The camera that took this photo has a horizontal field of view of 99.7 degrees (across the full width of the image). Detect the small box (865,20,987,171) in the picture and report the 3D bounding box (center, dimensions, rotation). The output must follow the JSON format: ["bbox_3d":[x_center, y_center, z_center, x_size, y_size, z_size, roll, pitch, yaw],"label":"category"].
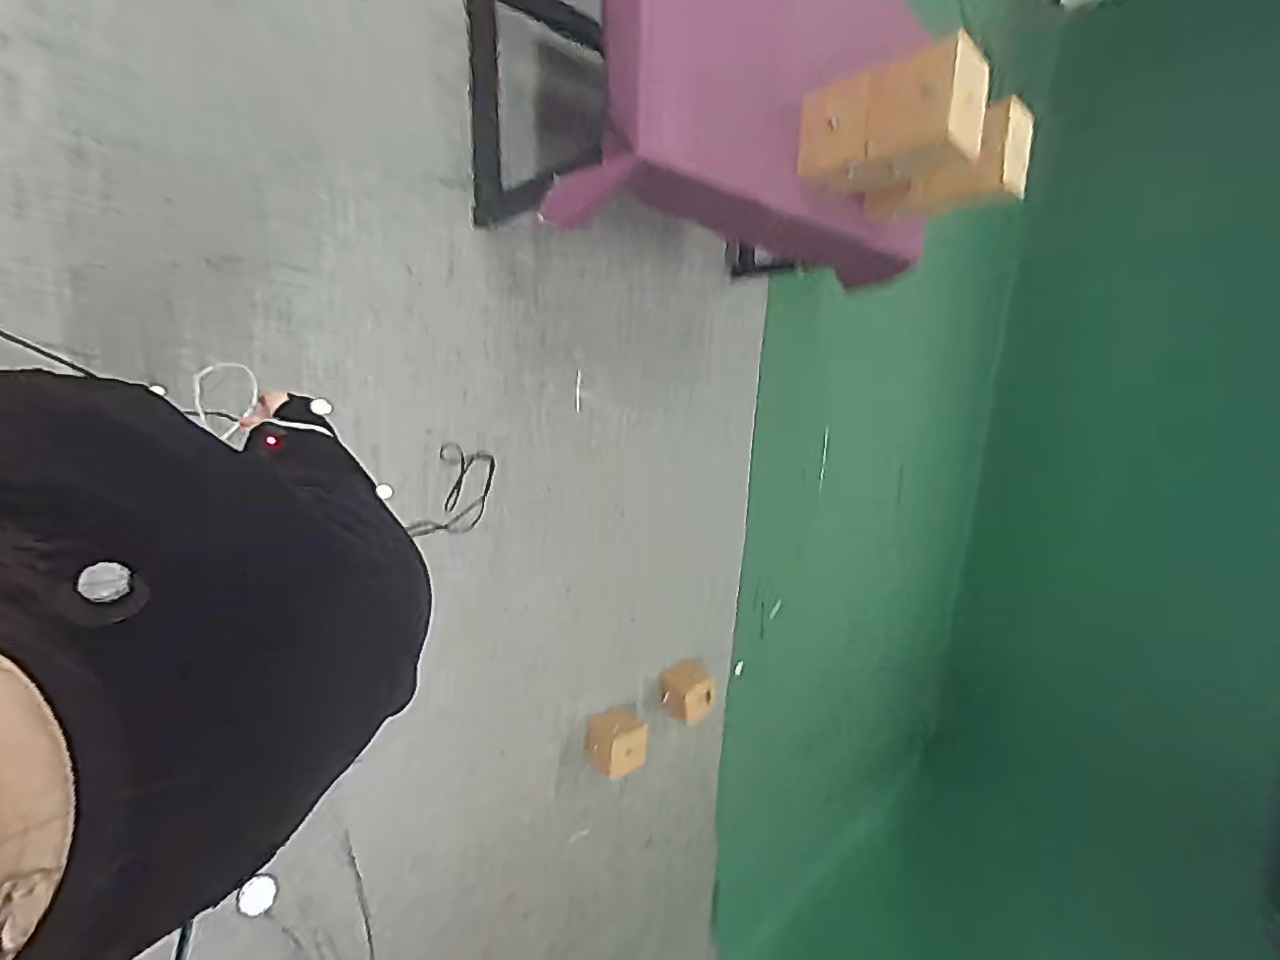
[{"bbox_3d":[0.581,-0.769,1.106,0.168,0.176,0.179,-5,102,-40],"label":"small box"}]

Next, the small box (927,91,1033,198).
[{"bbox_3d":[0.825,-0.805,1.319,0.179,0.176,0.168,-11,107,-39],"label":"small box"}]

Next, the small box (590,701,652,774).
[{"bbox_3d":[-0.078,0.990,2.096,0.179,0.176,0.168,-4,102,-41],"label":"small box"}]

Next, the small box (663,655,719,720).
[{"bbox_3d":[0.219,0.890,2.342,0.179,0.176,0.168,-19,111,-37],"label":"small box"}]
